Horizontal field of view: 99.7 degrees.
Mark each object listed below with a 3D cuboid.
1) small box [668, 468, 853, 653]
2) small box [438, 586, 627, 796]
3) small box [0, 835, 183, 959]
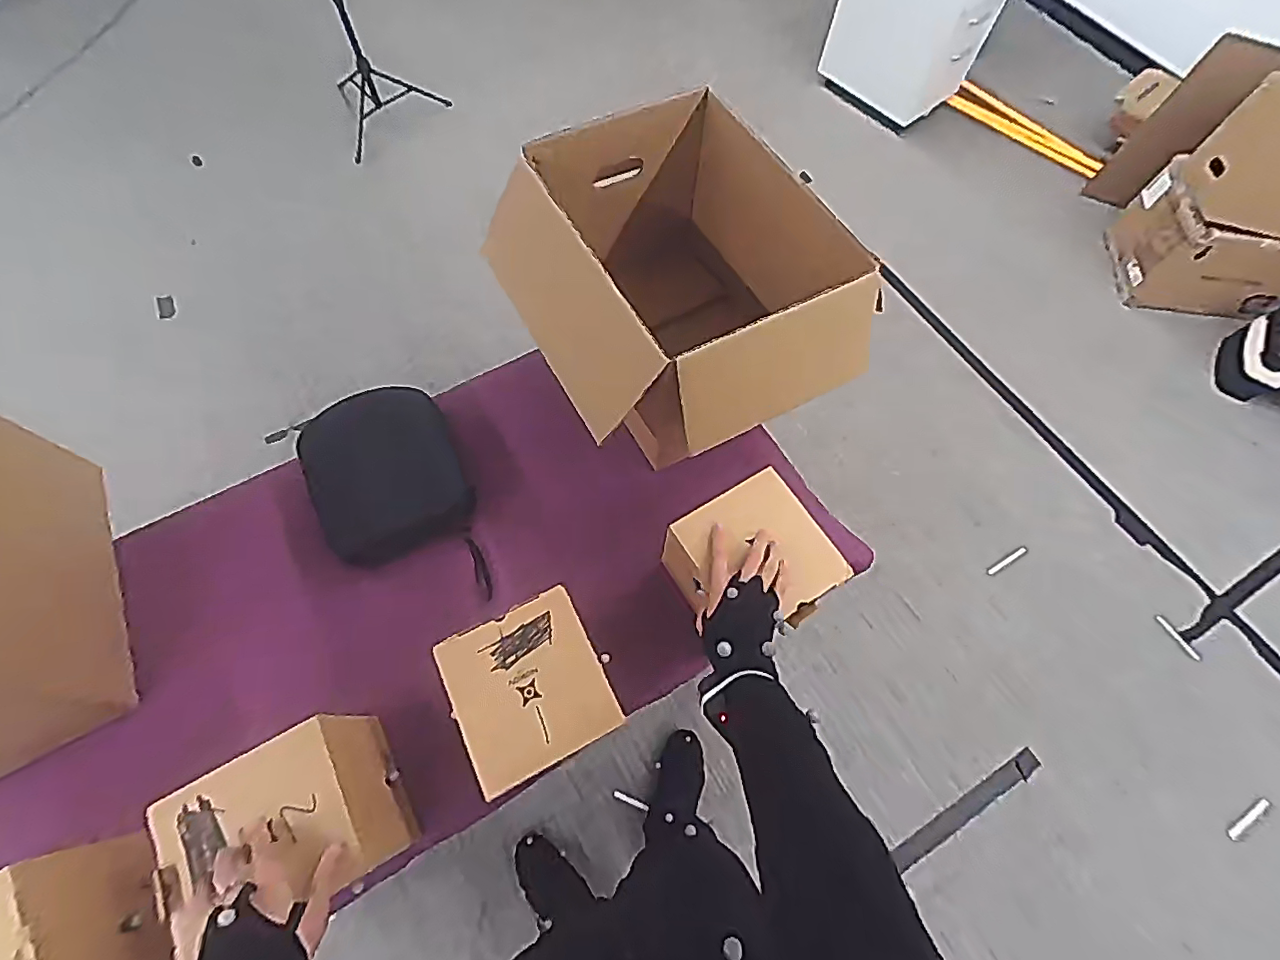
[{"bbox_3d":[0.150,0.118,0.751,0.168,0.176,0.179,-29,70,-12],"label":"small box"},{"bbox_3d":[-0.128,0.261,0.681,0.168,0.176,0.179,-25,70,-12],"label":"small box"},{"bbox_3d":[-0.638,0.509,0.557,0.179,0.176,0.168,-30,71,-15],"label":"small box"}]
